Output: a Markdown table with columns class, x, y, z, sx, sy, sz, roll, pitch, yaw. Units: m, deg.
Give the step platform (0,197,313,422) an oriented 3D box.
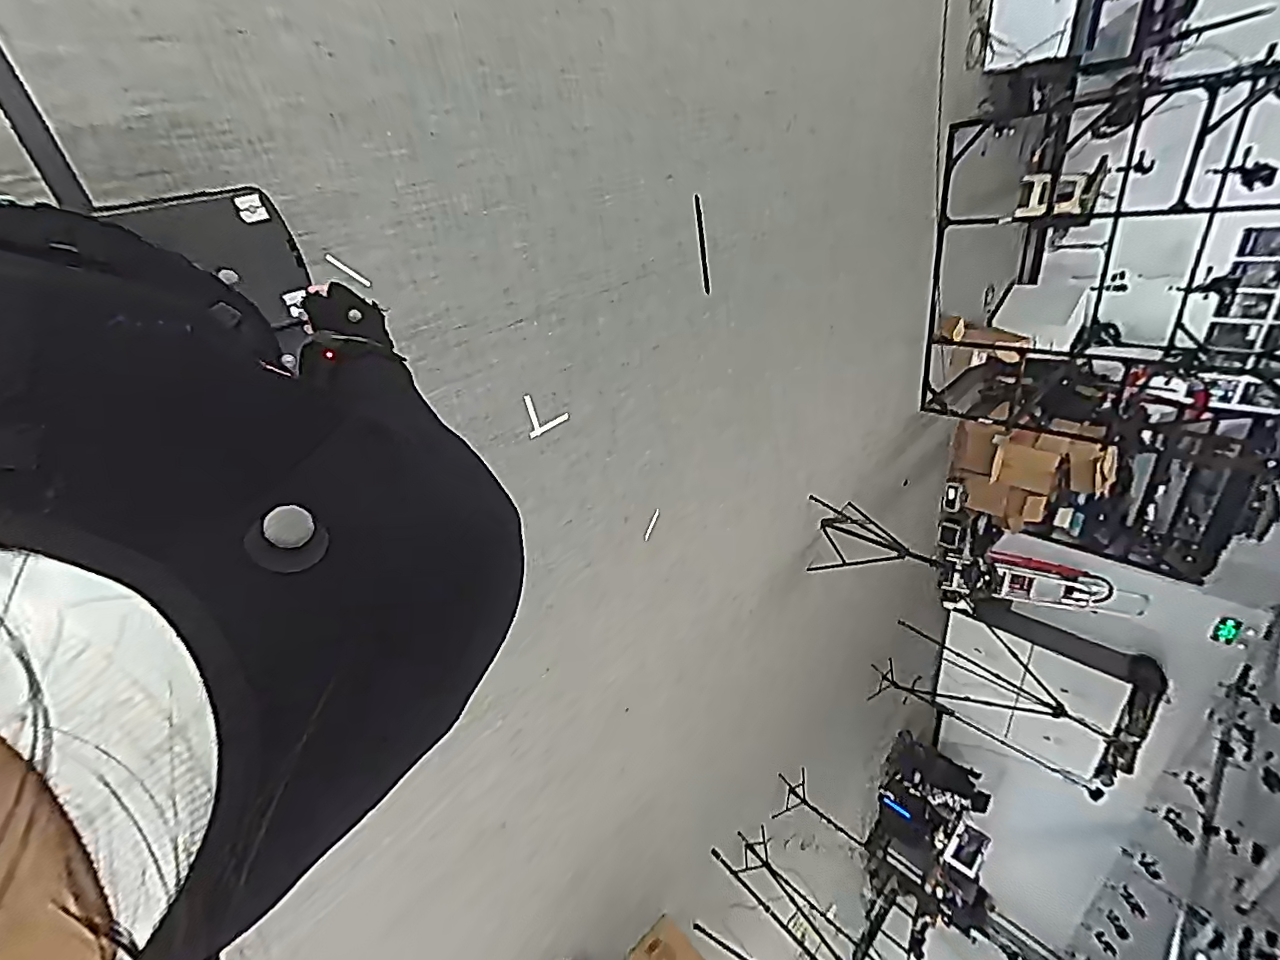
| class | x | y | z | sx | sy | sz | roll | pitch | yaw |
| --- | --- | --- | --- | --- | --- | --- | --- | --- | --- |
| step platform | -1.058 | -0.353 | 1.082 | 0.684 | 0.204 | 0.286 | -34 | 128 | -32 |
